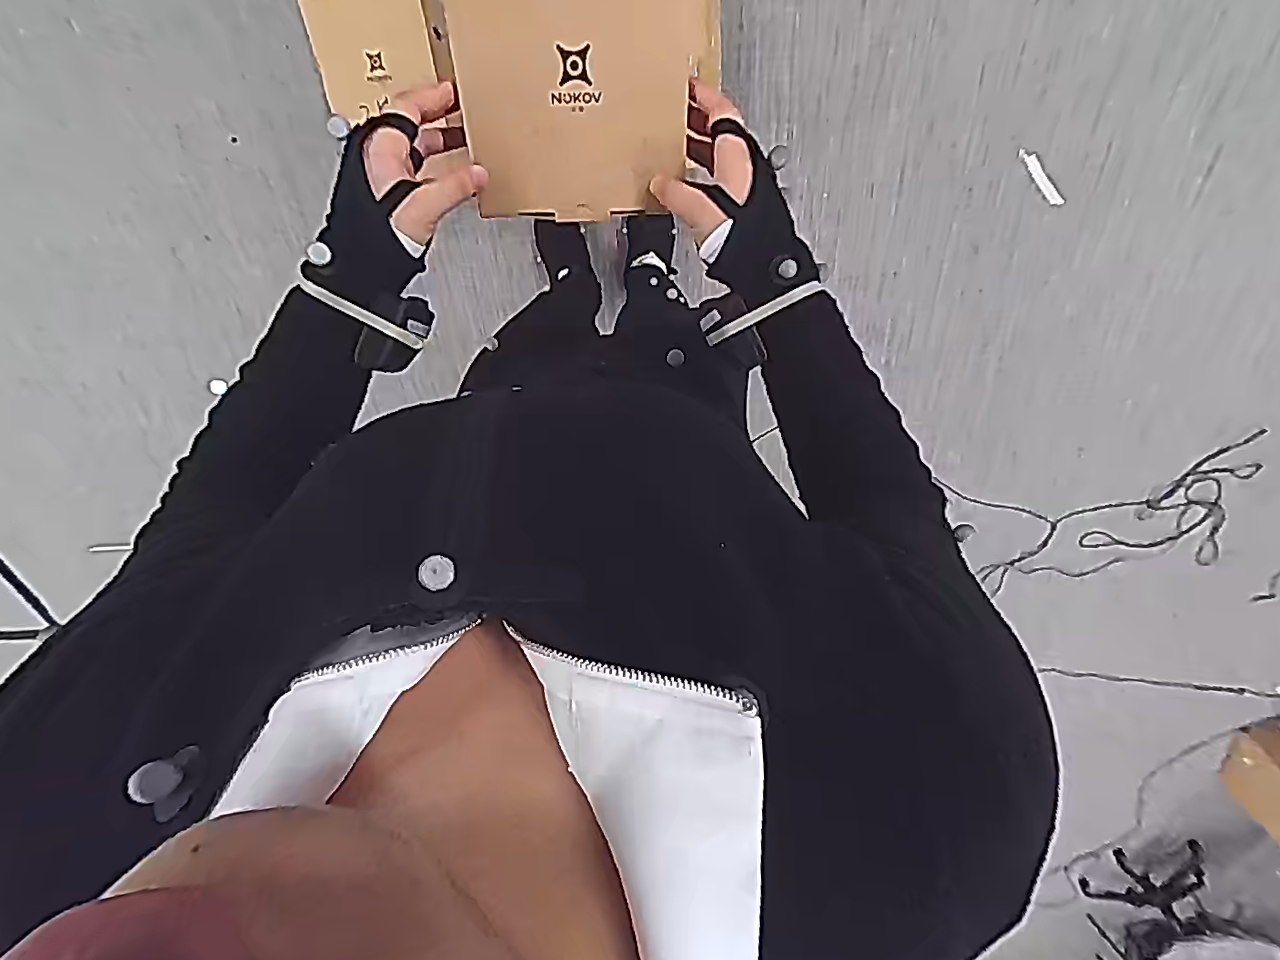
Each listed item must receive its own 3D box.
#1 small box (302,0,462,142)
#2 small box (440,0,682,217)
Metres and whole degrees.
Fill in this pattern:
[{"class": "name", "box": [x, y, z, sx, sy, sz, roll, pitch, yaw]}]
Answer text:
[{"class": "small box", "box": [-0.370, -0.626, 0.829, 0.168, 0.176, 0.179, -3, 122, 1]}, {"class": "small box", "box": [-0.056, -0.335, 0.455, 0.168, 0.176, 0.179, -2, 126, -3]}]
